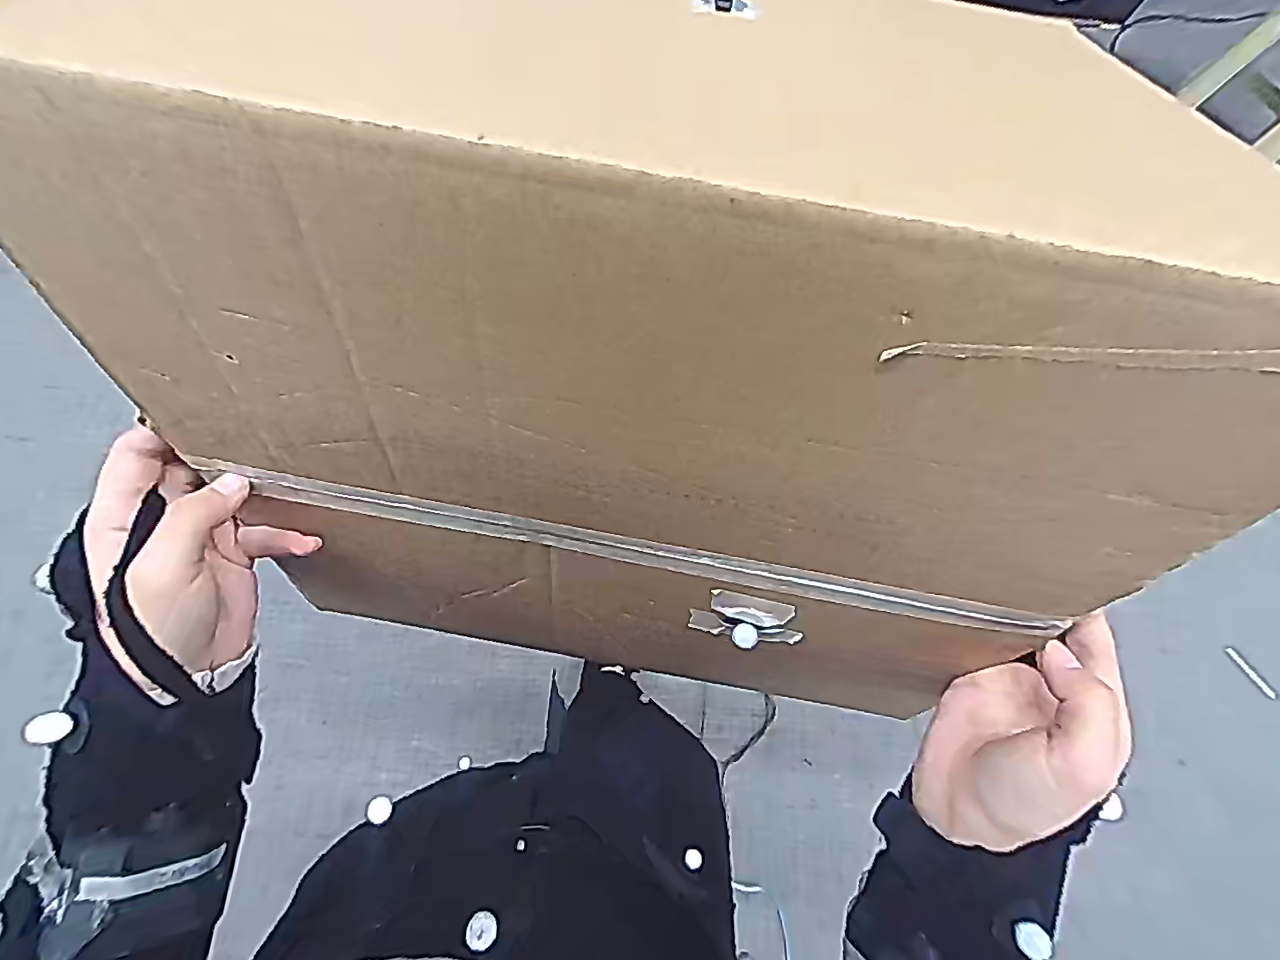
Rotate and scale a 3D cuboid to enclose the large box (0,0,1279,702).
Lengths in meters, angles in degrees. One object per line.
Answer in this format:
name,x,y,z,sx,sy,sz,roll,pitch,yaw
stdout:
large box,0.015,-0.089,0.349,0.408,0.320,0.320,10,52,1
